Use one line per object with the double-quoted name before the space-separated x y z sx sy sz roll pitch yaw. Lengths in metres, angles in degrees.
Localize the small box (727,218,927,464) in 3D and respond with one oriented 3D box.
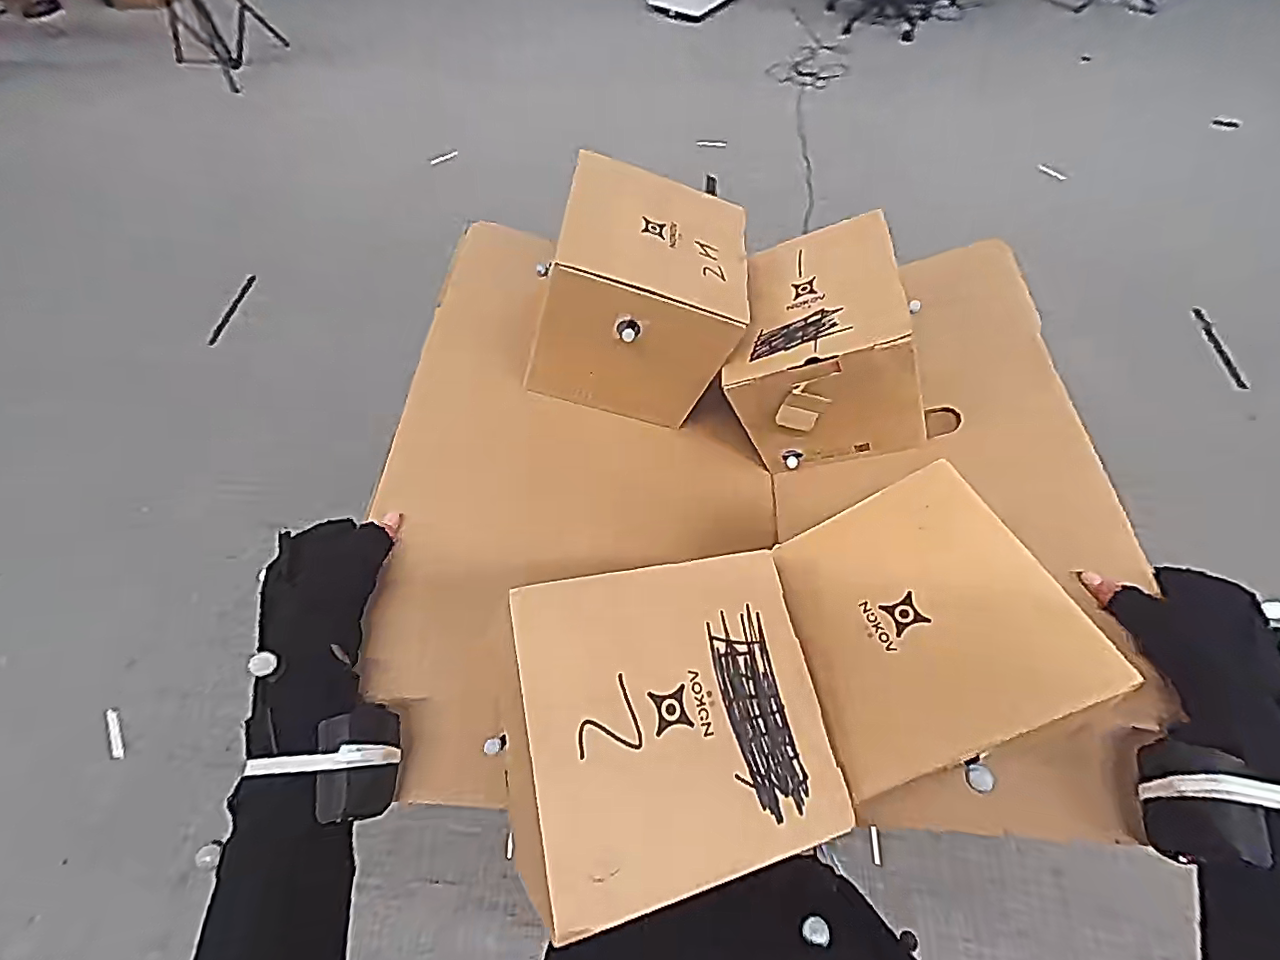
"small box" 0.200 -0.131 0.580 0.168 0.176 0.179 -10 55 26
